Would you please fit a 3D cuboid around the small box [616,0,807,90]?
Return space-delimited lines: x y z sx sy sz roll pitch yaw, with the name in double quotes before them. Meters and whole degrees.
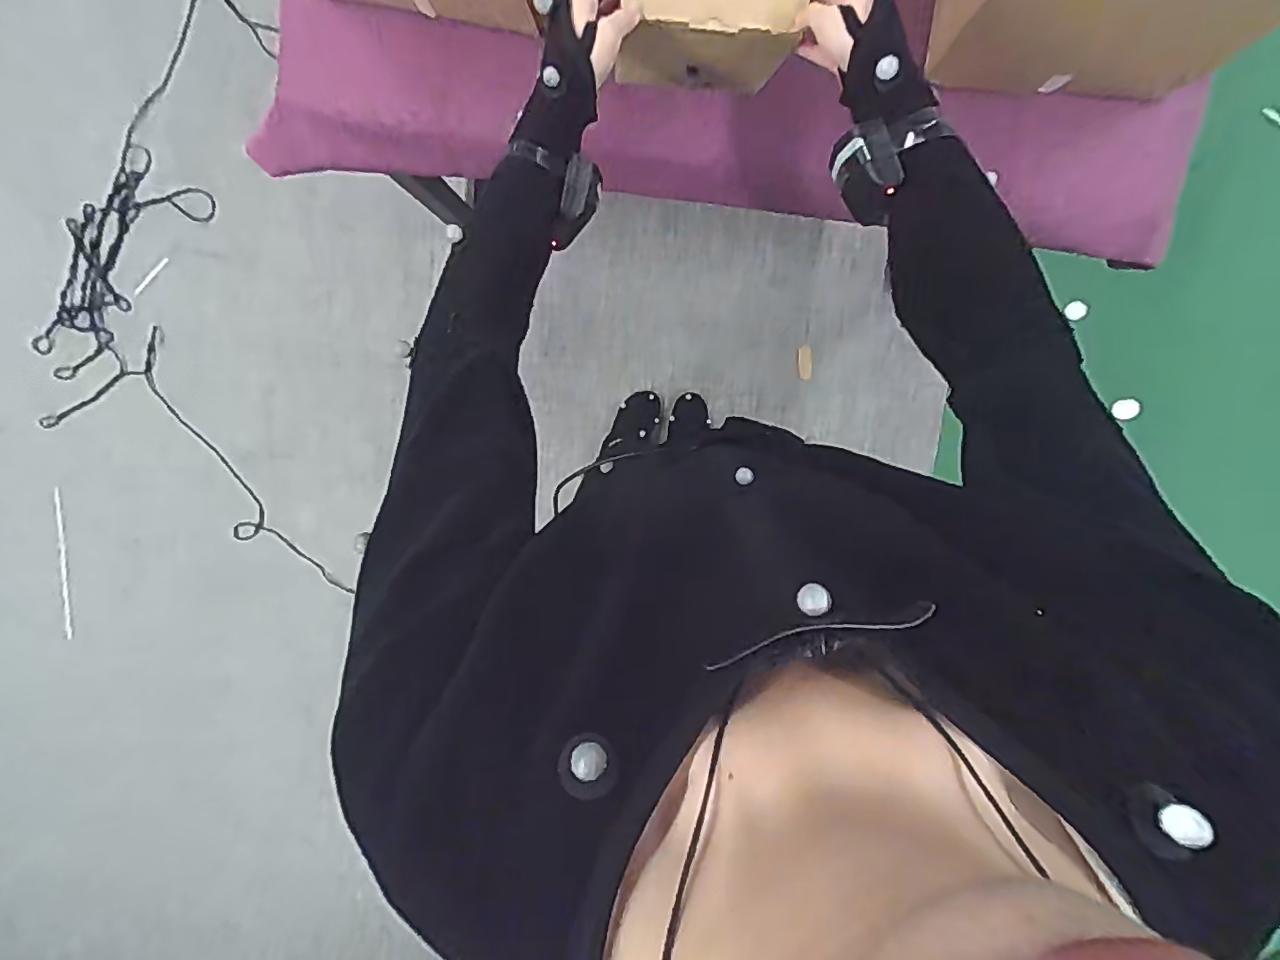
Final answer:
"small box" 0.065 -0.508 0.514 0.168 0.176 0.179 3 111 -4

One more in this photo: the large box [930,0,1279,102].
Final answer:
"large box" 0.533 -0.675 0.527 0.320 0.320 0.408 6 98 4
